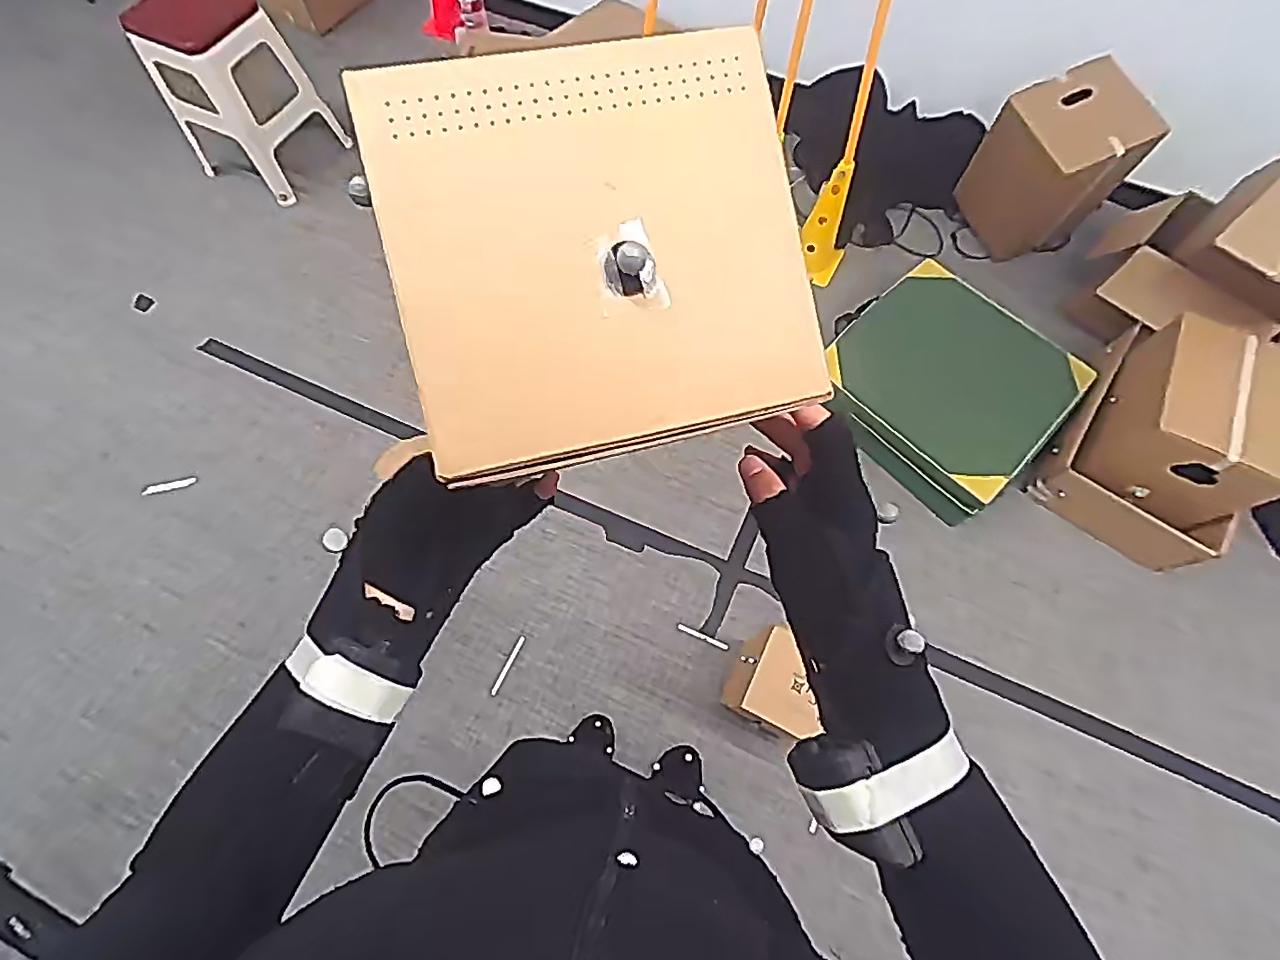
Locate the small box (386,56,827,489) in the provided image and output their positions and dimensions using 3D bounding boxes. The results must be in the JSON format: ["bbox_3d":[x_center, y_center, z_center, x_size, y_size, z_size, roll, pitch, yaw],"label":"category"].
[{"bbox_3d":[-0.027,-0.096,0.311,0.179,0.168,0.176,-14,94,-9],"label":"small box"}]

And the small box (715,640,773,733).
[{"bbox_3d":[0.298,0.484,1.272,0.179,0.176,0.168,28,69,8],"label":"small box"}]

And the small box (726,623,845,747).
[{"bbox_3d":[0.293,0.422,1.122,0.168,0.176,0.179,27,70,10],"label":"small box"}]
